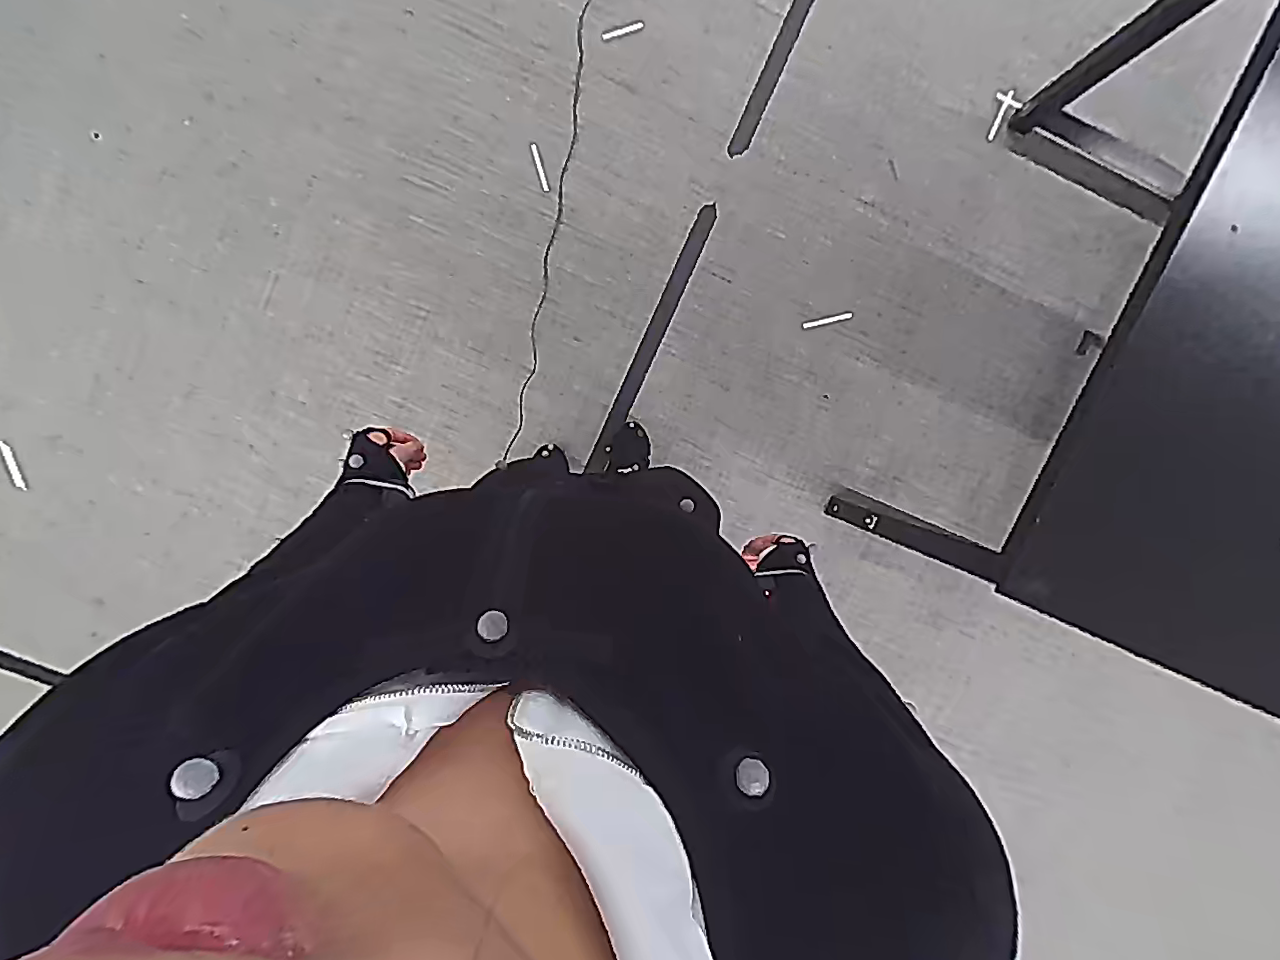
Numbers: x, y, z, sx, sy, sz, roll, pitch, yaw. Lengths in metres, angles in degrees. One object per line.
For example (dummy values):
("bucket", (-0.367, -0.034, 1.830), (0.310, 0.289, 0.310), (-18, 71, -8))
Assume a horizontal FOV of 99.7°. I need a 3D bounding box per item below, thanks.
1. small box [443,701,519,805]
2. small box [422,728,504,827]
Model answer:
("small box", (-0.448, 0.729, 1.464), (0.179, 0.176, 0.168), (23, 95, -5))
("small box", (-0.444, 0.742, 1.301), (0.168, 0.176, 0.179), (21, 95, -3))
